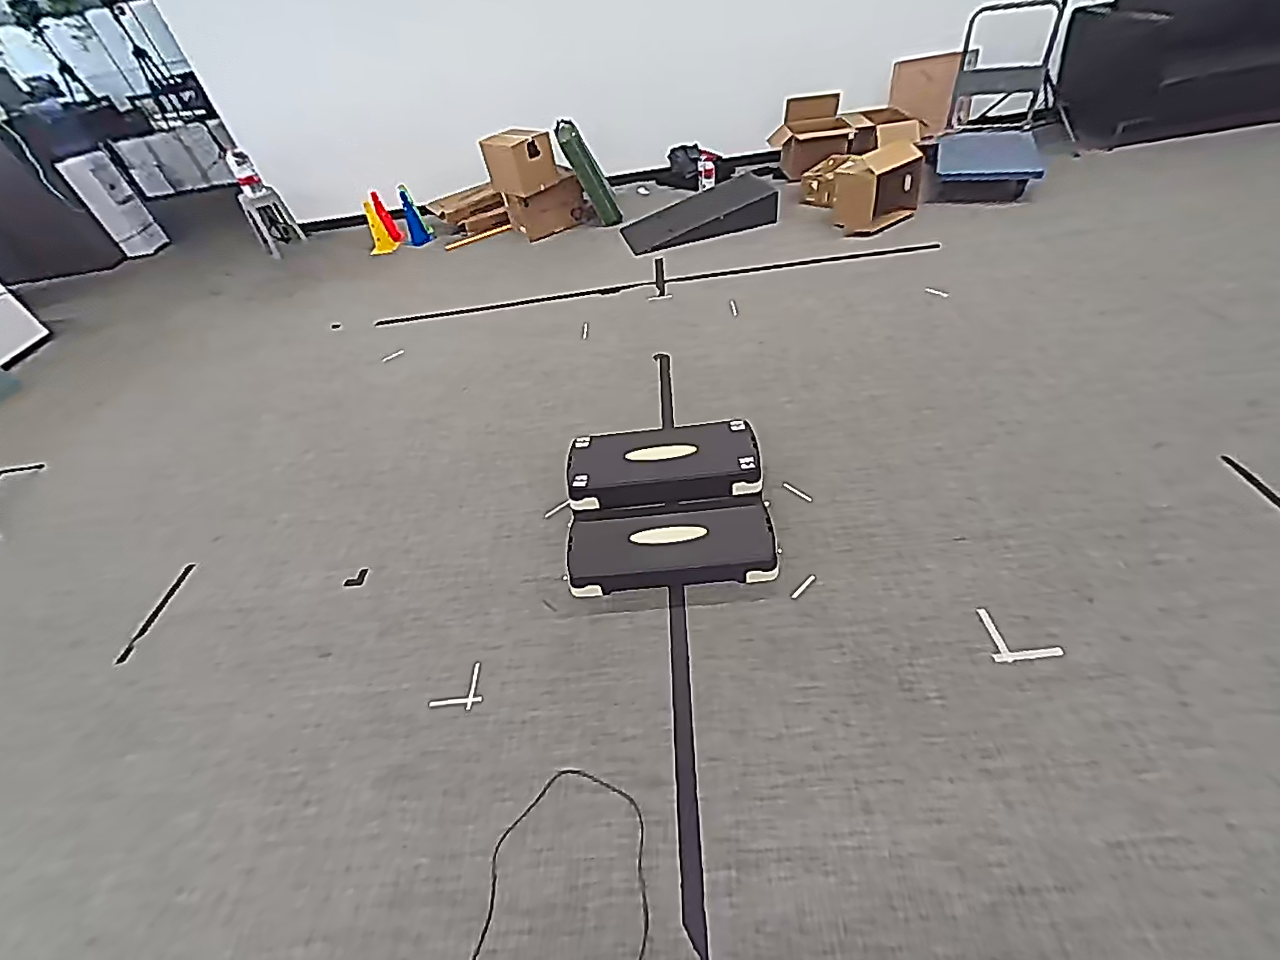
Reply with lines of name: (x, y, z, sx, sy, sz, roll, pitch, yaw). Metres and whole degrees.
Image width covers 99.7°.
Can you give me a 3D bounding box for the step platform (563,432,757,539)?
step platform: (0.068, 0.013, 1.929, 0.684, 0.204, 0.286, -6, 45, 3)
